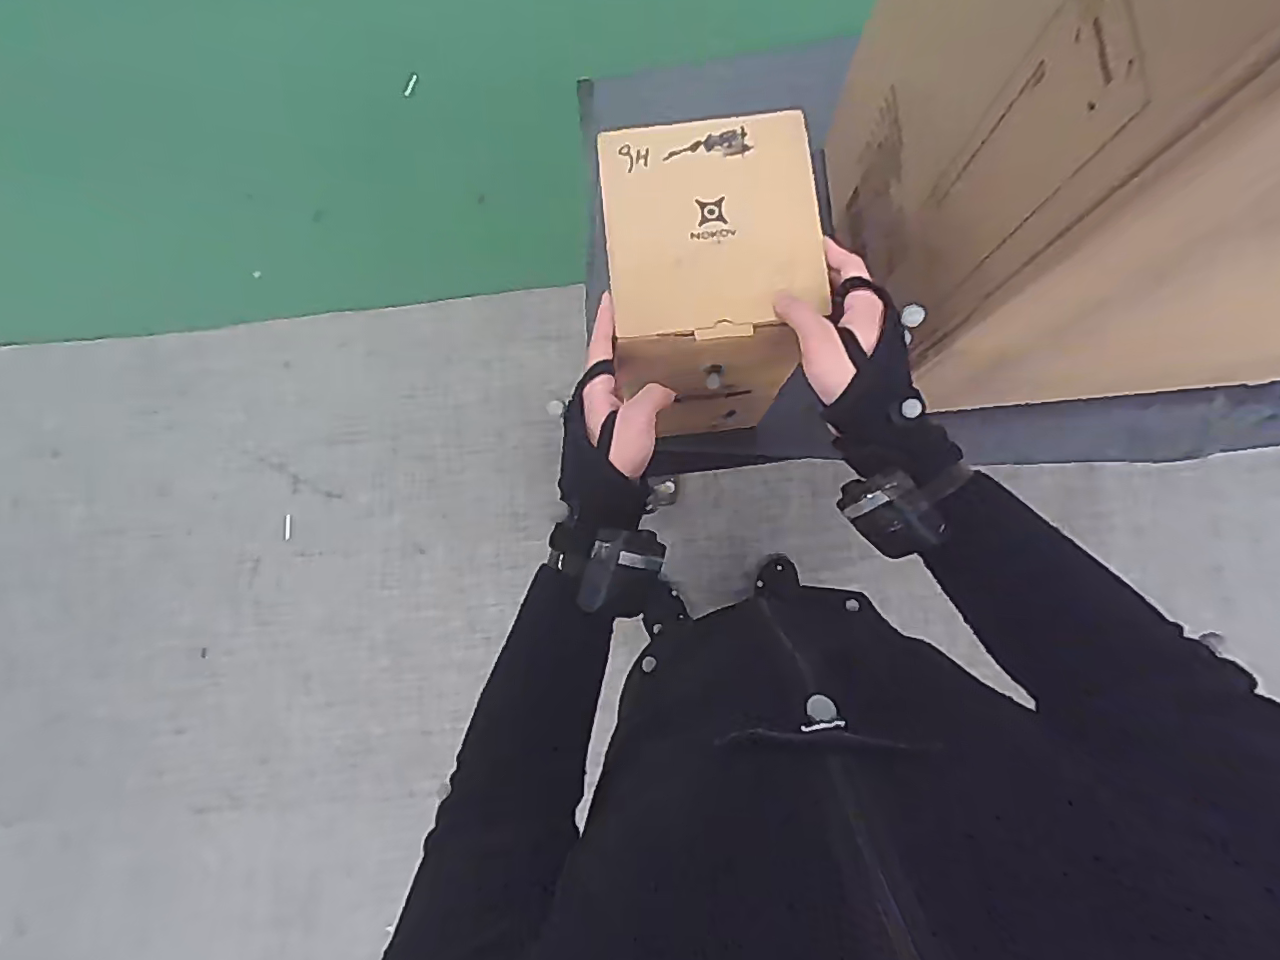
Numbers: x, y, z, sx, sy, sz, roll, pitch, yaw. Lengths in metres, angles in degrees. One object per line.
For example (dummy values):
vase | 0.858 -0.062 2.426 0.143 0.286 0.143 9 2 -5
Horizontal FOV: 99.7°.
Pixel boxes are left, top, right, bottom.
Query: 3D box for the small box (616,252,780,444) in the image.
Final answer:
small box | 0.066 -0.148 0.670 0.168 0.176 0.179 -7 79 1
